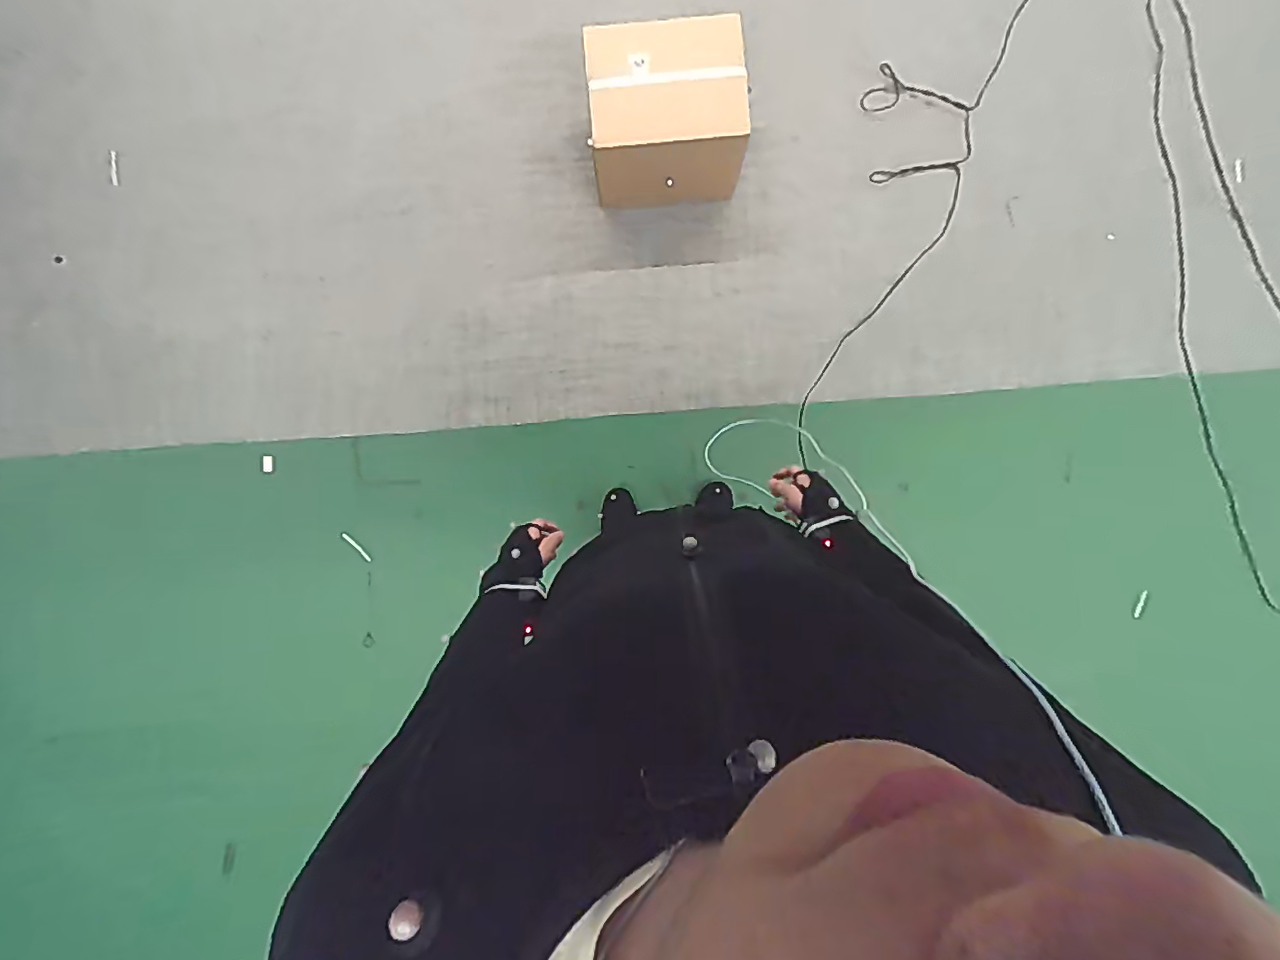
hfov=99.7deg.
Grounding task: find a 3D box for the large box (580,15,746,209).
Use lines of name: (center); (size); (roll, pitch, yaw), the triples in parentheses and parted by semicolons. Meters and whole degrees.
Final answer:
large box: (0.063, -1.010, 1.527); (0.408, 0.320, 0.320); (-6, 89, 2)
